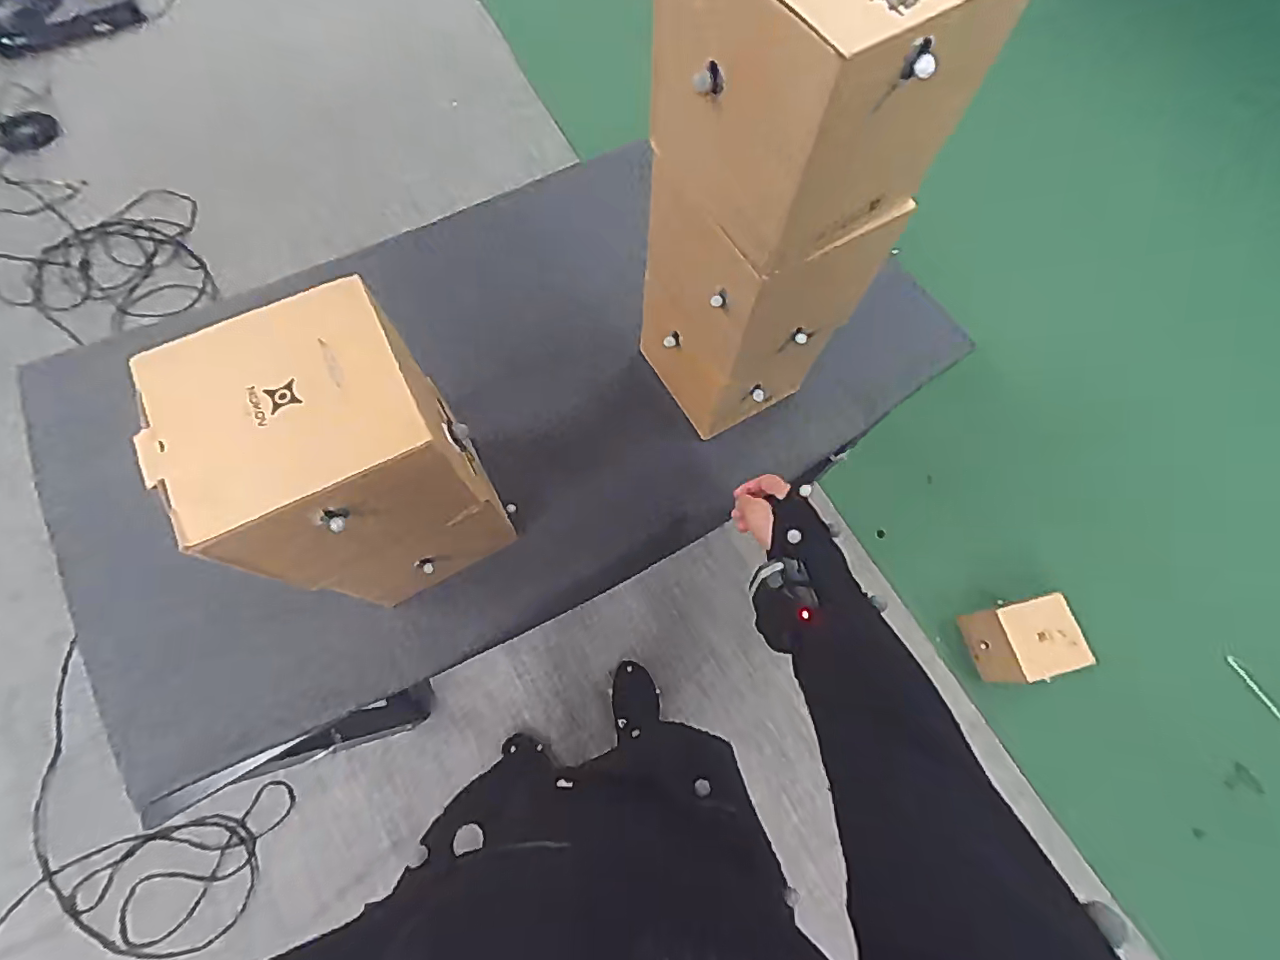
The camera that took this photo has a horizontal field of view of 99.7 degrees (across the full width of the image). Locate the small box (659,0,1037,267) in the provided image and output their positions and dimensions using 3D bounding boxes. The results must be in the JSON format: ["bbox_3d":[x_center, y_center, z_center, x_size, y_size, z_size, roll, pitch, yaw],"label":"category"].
[{"bbox_3d":[0.125,-0.295,0.389,0.168,0.176,0.179,-32,74,-11],"label":"small box"}]

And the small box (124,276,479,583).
[{"bbox_3d":[-0.263,-0.029,0.459,0.179,0.176,0.168,-27,74,-11],"label":"small box"}]

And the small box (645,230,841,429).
[{"bbox_3d":[0.118,-0.187,0.699,0.168,0.176,0.179,-29,73,-11],"label":"small box"}]

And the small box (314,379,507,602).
[{"bbox_3d":[-0.266,0.021,0.614,0.179,0.176,0.168,-28,74,-10],"label":"small box"}]

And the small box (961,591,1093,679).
[{"bbox_3d":[0.916,0.378,1.307,0.179,0.176,0.168,-12,73,-7],"label":"small box"}]
